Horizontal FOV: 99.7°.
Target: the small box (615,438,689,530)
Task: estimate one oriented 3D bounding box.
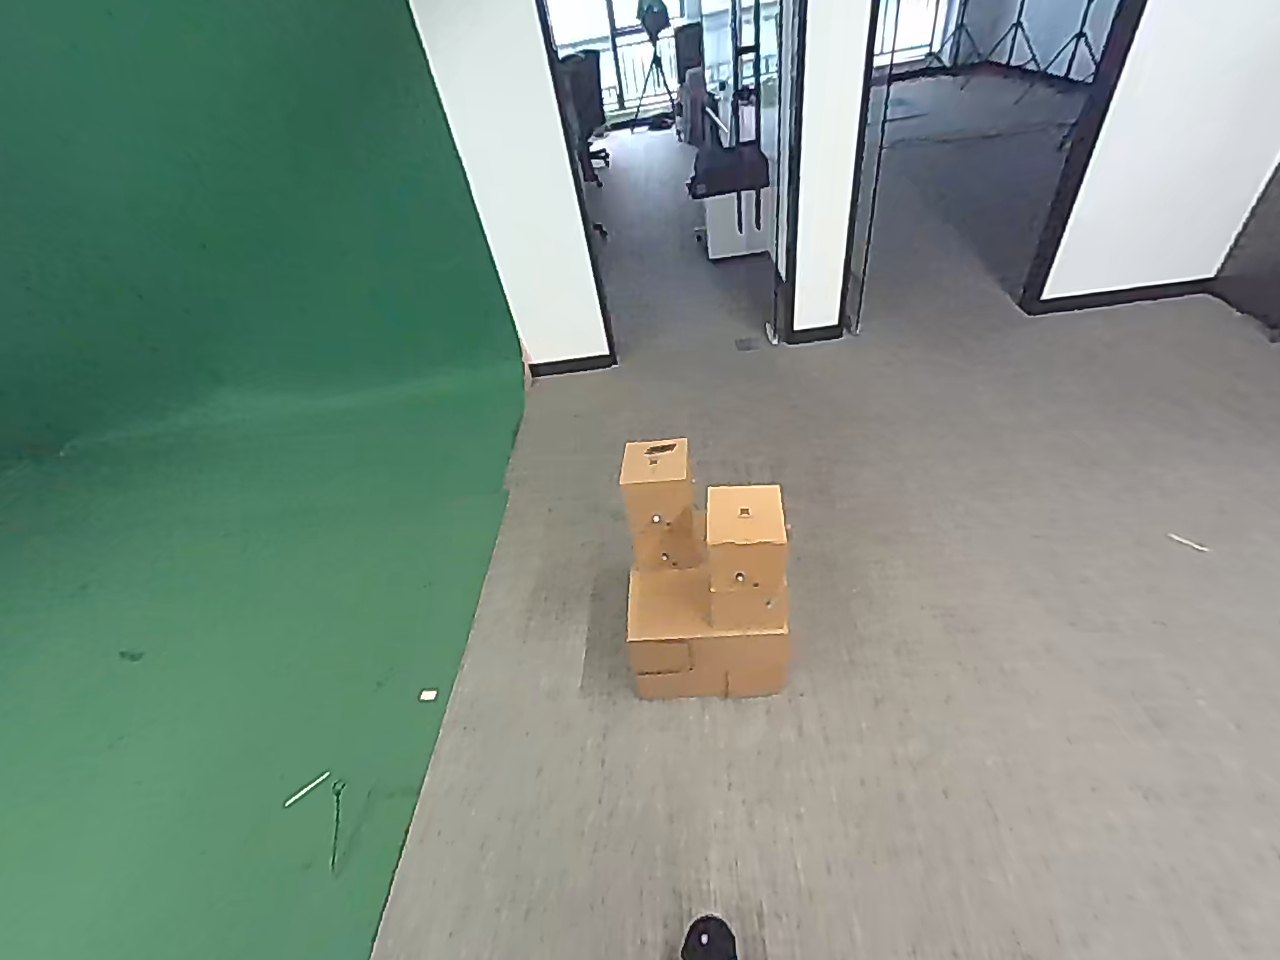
[{"bbox_3d":[0.036,0.011,1.418,0.168,0.176,0.179,-4,39,9],"label":"small box"}]

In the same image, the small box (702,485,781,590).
[{"bbox_3d":[0.227,0.130,1.237,0.168,0.176,0.179,-2,41,9],"label":"small box"}]

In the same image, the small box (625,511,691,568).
[{"bbox_3d":[0.055,0.129,1.533,0.168,0.176,0.179,-6,38,7],"label":"small box"}]
